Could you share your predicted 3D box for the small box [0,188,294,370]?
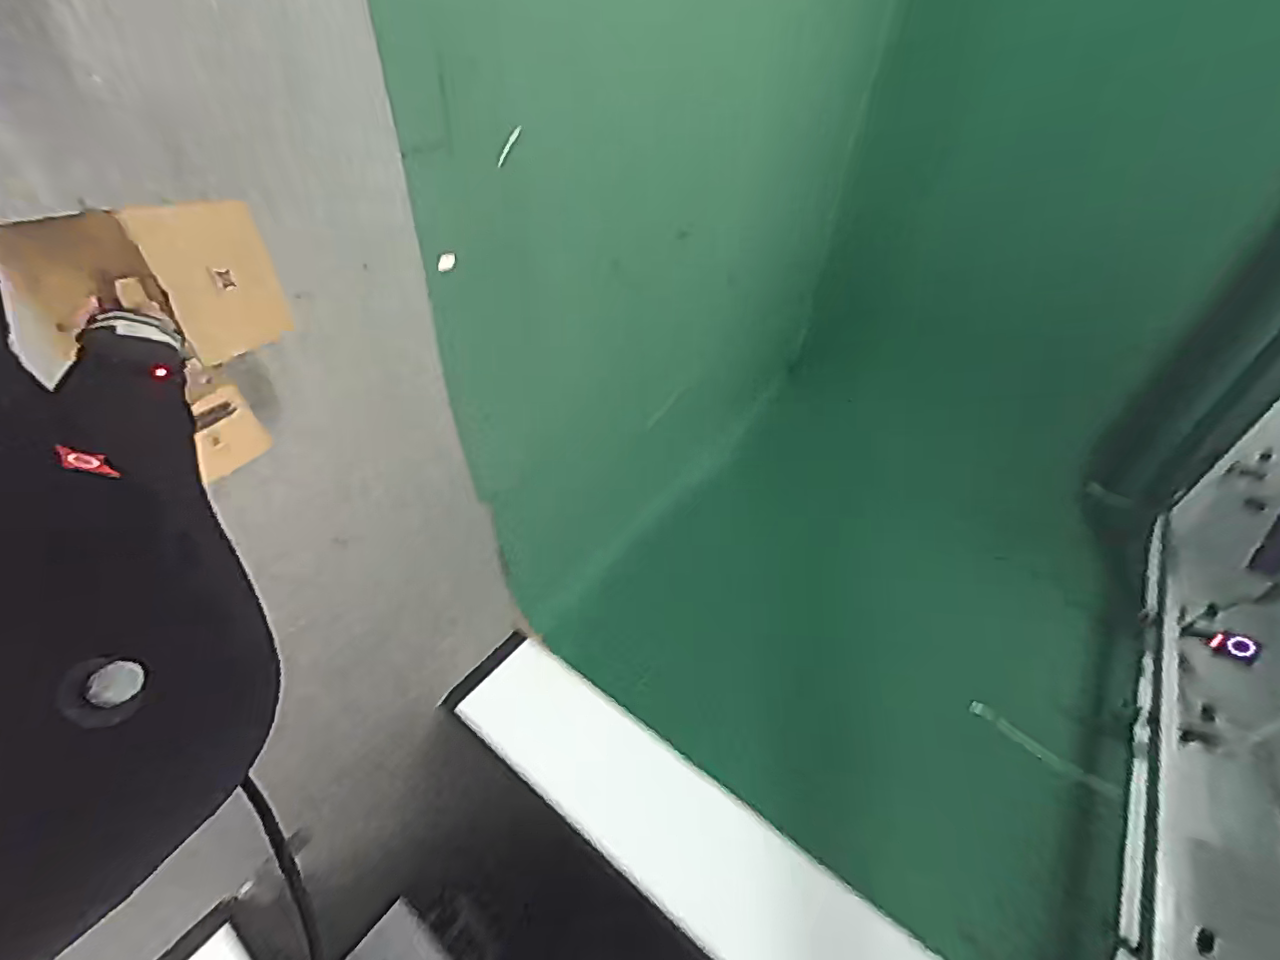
[{"bbox_3d":[-0.574,-0.240,0.645,0.179,0.176,0.168,-84,168,-58],"label":"small box"}]
